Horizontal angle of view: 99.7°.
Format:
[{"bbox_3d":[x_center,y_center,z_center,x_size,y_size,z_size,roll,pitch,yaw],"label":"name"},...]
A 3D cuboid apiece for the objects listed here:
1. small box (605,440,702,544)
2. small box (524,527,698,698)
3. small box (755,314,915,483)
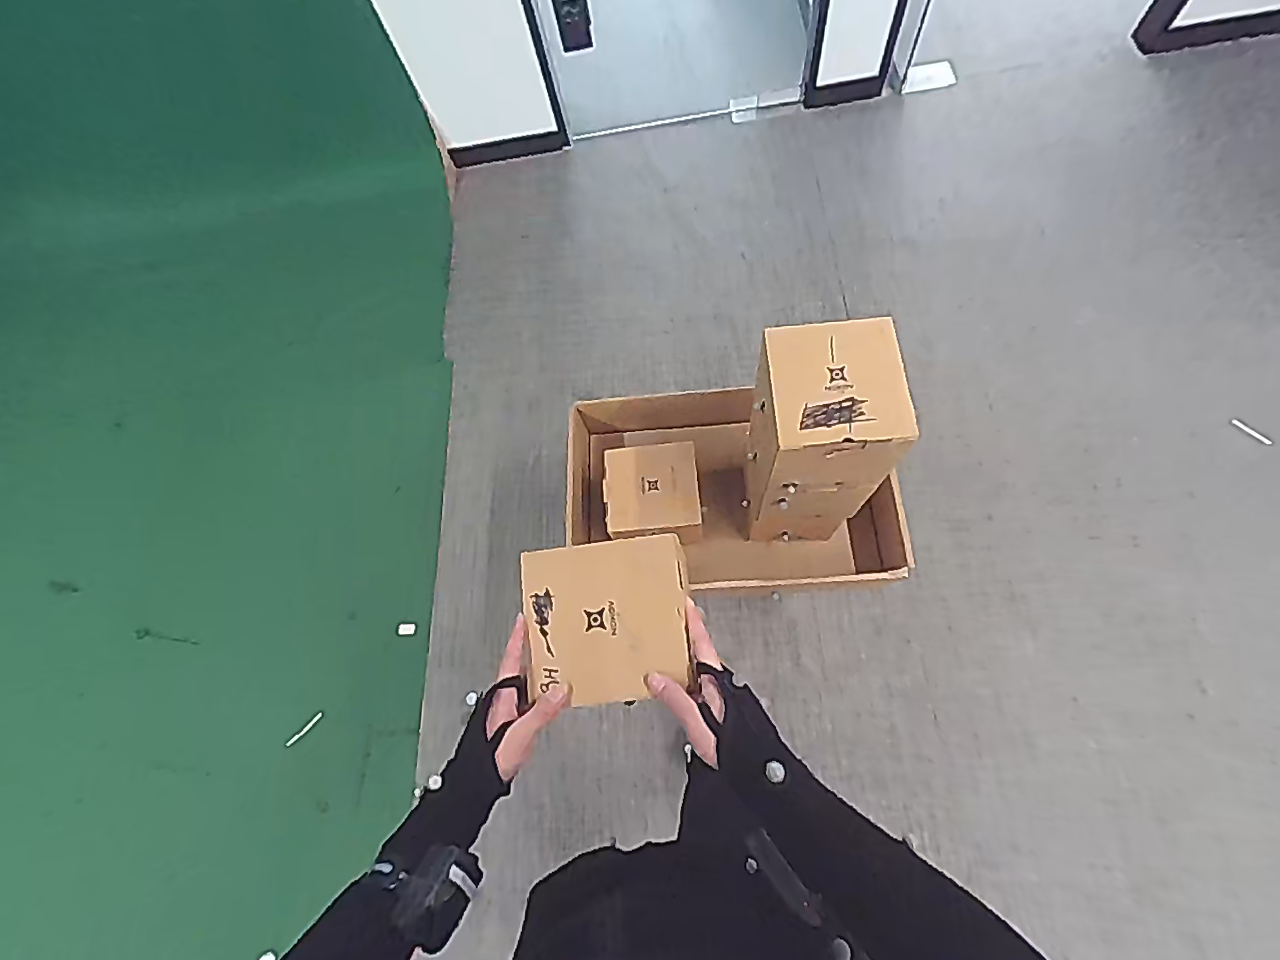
[{"bbox_3d":[0.031,0.034,1.081,0.179,0.176,0.168,-4,70,4],"label":"small box"},{"bbox_3d":[-0.027,0.157,0.647,0.179,0.176,0.168,-7,74,5],"label":"small box"},{"bbox_3d":[0.254,-0.101,0.748,0.168,0.176,0.179,-4,69,6],"label":"small box"}]
